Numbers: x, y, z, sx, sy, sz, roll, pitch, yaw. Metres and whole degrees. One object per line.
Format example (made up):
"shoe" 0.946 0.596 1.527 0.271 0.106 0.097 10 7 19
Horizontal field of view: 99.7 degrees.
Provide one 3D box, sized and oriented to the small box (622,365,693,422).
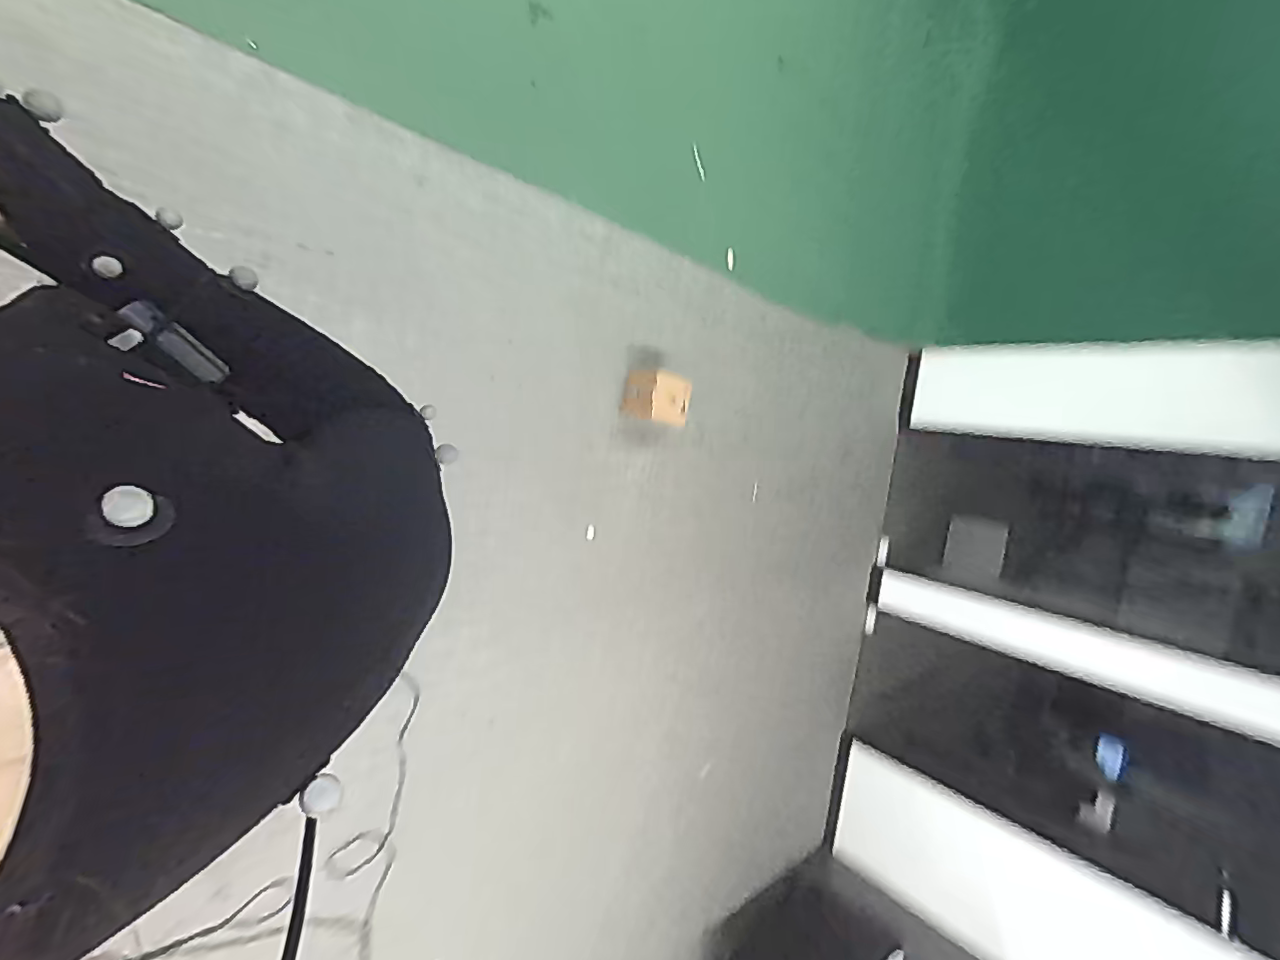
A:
"small box" 0.058 -0.308 1.928 0.179 0.176 0.168 9 94 -42
